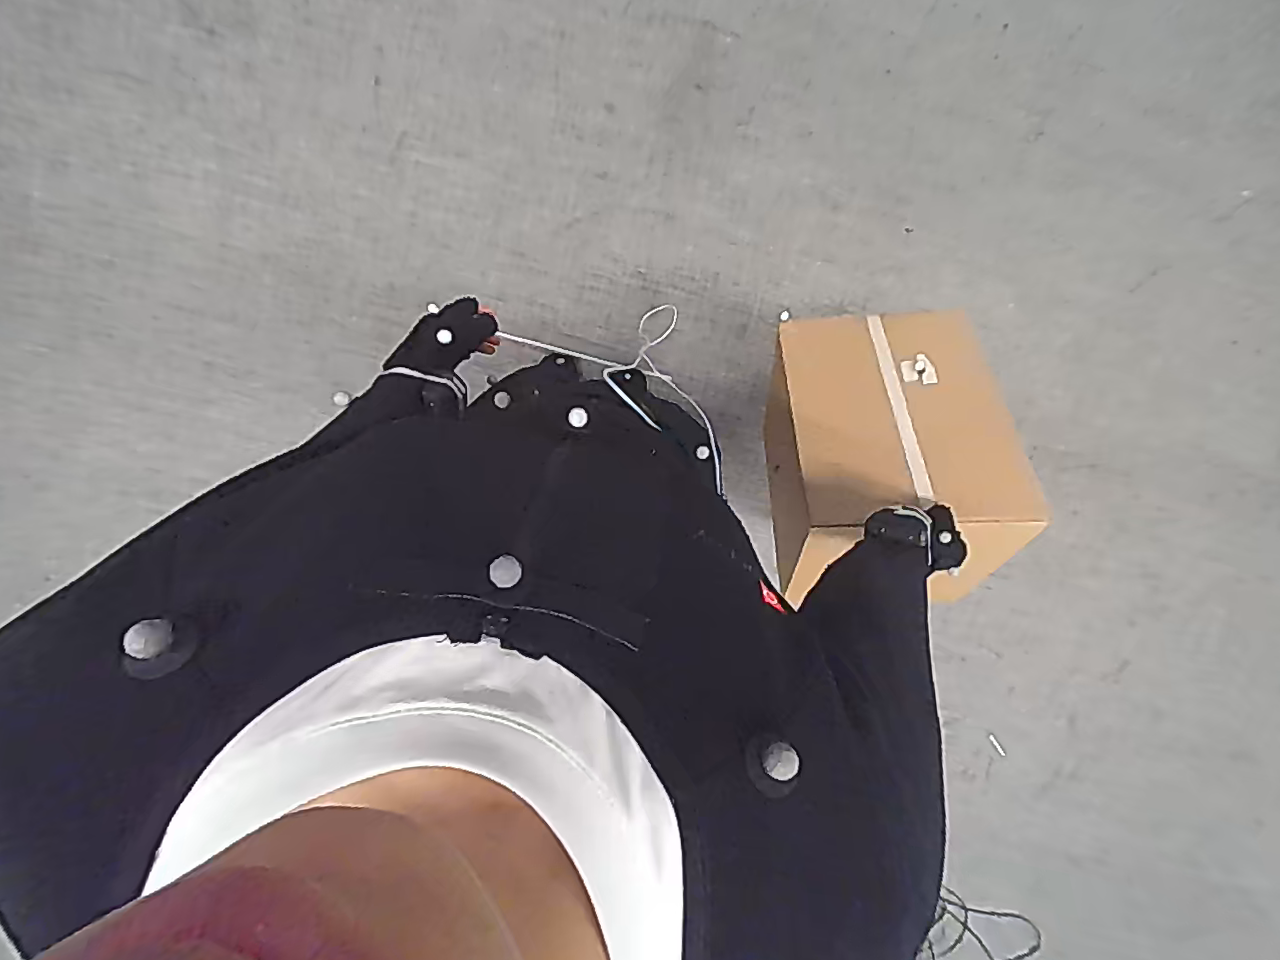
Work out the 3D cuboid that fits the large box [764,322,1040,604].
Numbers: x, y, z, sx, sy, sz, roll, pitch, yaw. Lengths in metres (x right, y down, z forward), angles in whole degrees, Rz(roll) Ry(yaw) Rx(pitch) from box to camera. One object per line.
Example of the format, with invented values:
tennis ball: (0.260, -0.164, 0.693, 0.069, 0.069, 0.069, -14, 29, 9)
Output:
large box: (0.407, -0.021, 0.969, 0.320, 0.320, 0.408, -1, 57, 5)
